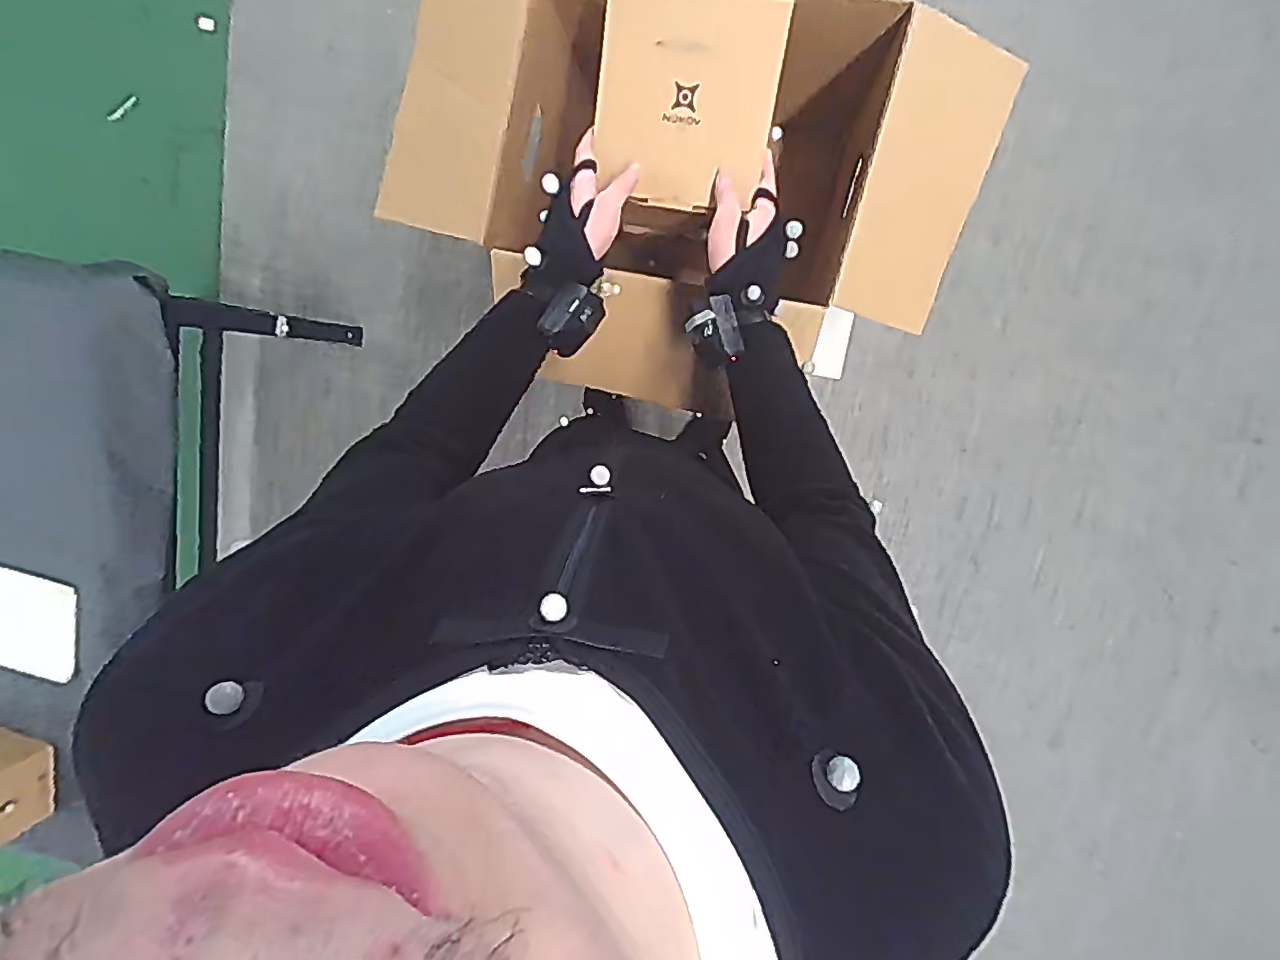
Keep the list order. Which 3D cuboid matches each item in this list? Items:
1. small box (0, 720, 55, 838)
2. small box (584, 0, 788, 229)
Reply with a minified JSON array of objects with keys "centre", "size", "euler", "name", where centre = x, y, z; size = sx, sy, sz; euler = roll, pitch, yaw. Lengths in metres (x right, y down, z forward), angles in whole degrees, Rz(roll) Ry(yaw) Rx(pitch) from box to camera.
[{"centre":[-1.288,0.591,1.037],"size":[0.179,0.176,0.168],"euler":[12,101,5],"name":"small box"},{"centre":[0.045,-0.371,0.560],"size":[0.168,0.176,0.179],"euler":[8,107,3],"name":"small box"}]
